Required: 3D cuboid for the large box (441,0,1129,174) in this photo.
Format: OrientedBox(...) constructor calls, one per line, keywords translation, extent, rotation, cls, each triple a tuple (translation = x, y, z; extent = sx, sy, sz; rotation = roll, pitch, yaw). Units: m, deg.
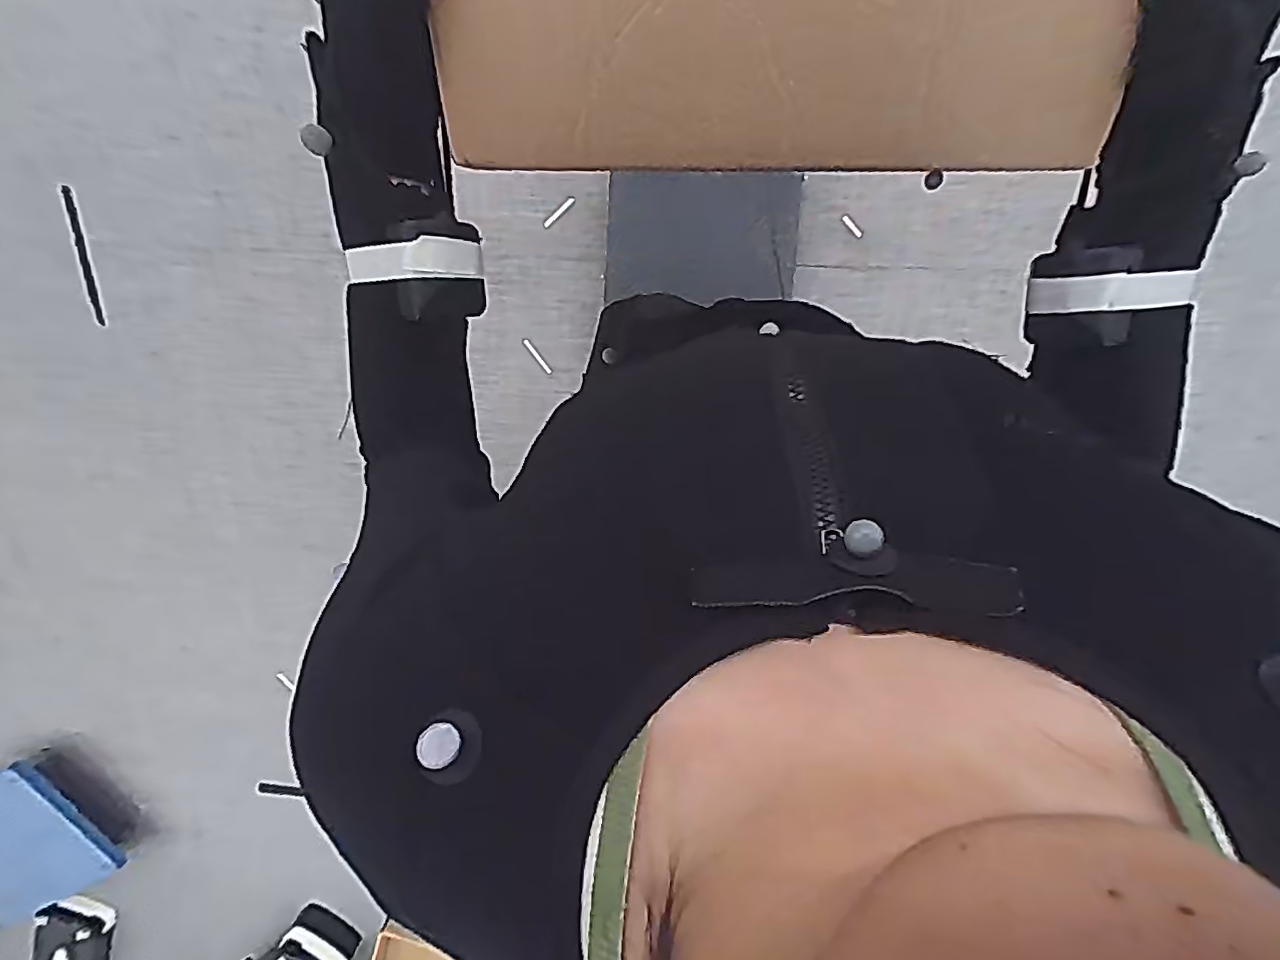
OrientedBox(translation=(0.087, -0.419, 0.394), extent=(0.408, 0.320, 0.320), rotation=(1, 124, 2), cls="large box")
